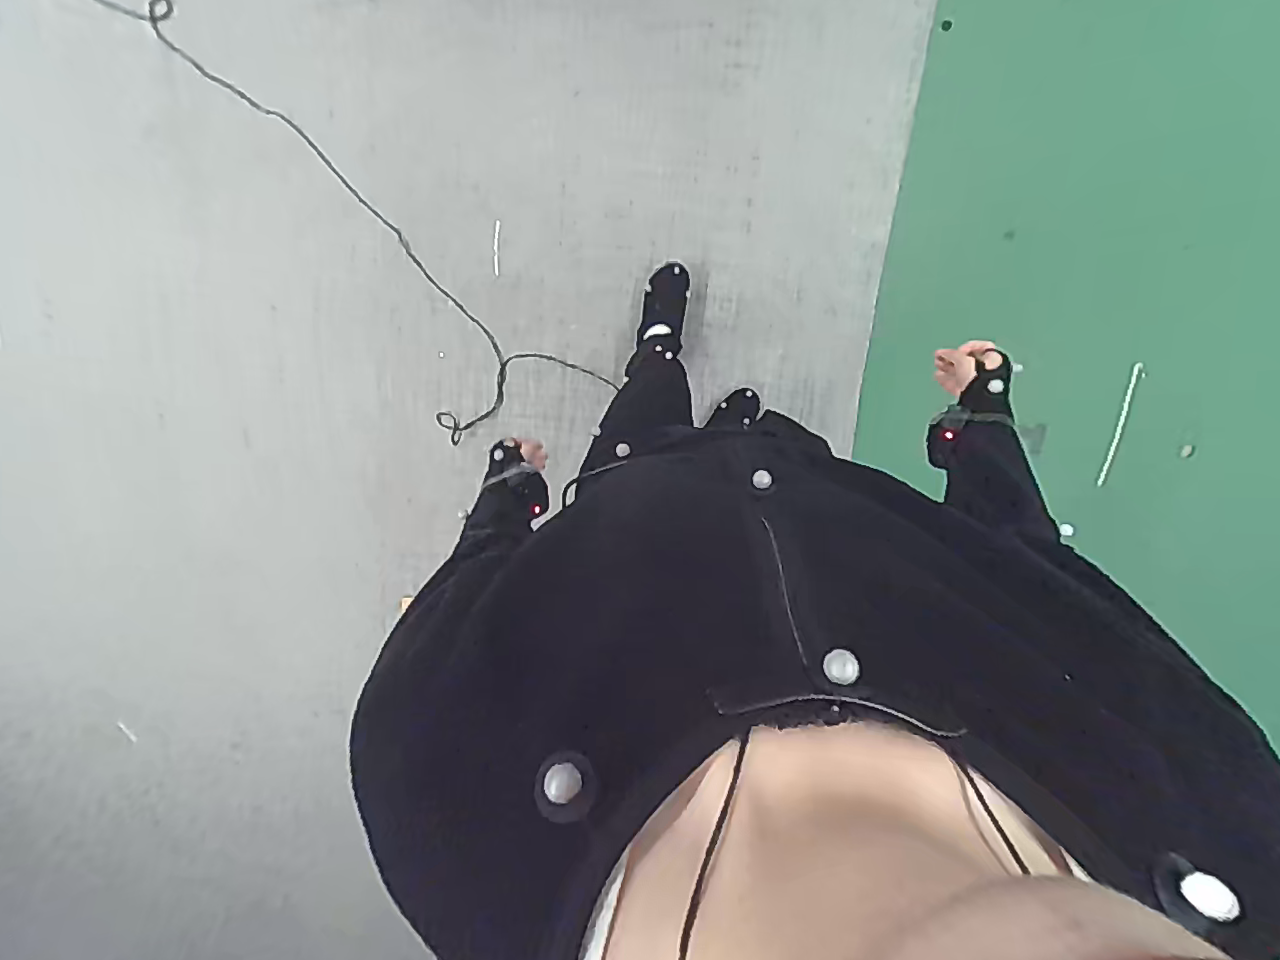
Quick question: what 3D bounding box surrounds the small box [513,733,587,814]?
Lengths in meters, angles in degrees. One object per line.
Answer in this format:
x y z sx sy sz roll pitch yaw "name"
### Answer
-0.269 0.869 1.651 0.179 0.176 0.168 13 104 2 "small box"
